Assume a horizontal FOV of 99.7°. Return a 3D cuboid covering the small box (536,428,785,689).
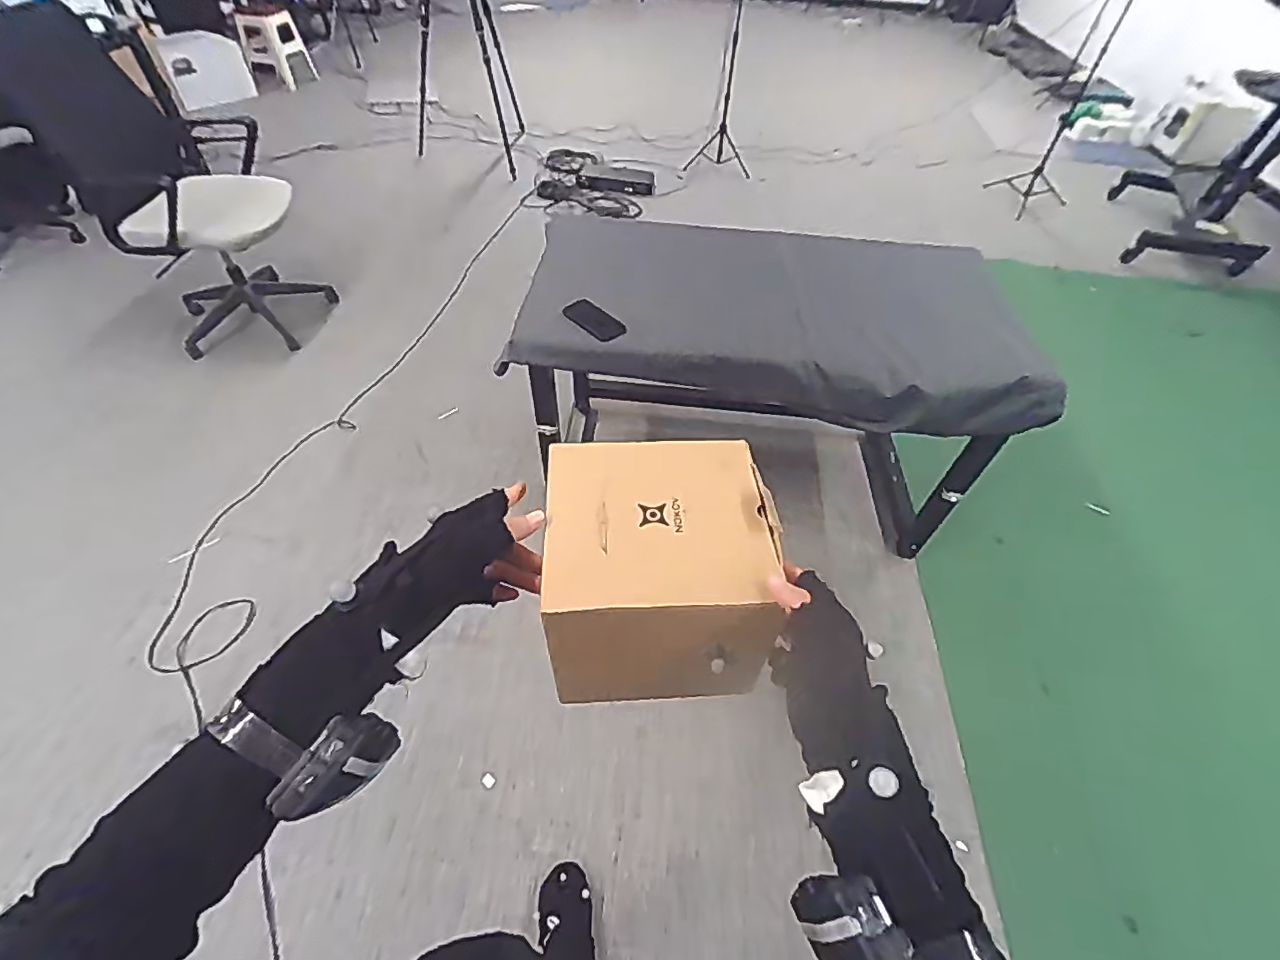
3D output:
[{"bbox_3d":[0.008,0.072,0.481,0.179,0.176,0.168,-3,48,-4],"label":"small box"}]
